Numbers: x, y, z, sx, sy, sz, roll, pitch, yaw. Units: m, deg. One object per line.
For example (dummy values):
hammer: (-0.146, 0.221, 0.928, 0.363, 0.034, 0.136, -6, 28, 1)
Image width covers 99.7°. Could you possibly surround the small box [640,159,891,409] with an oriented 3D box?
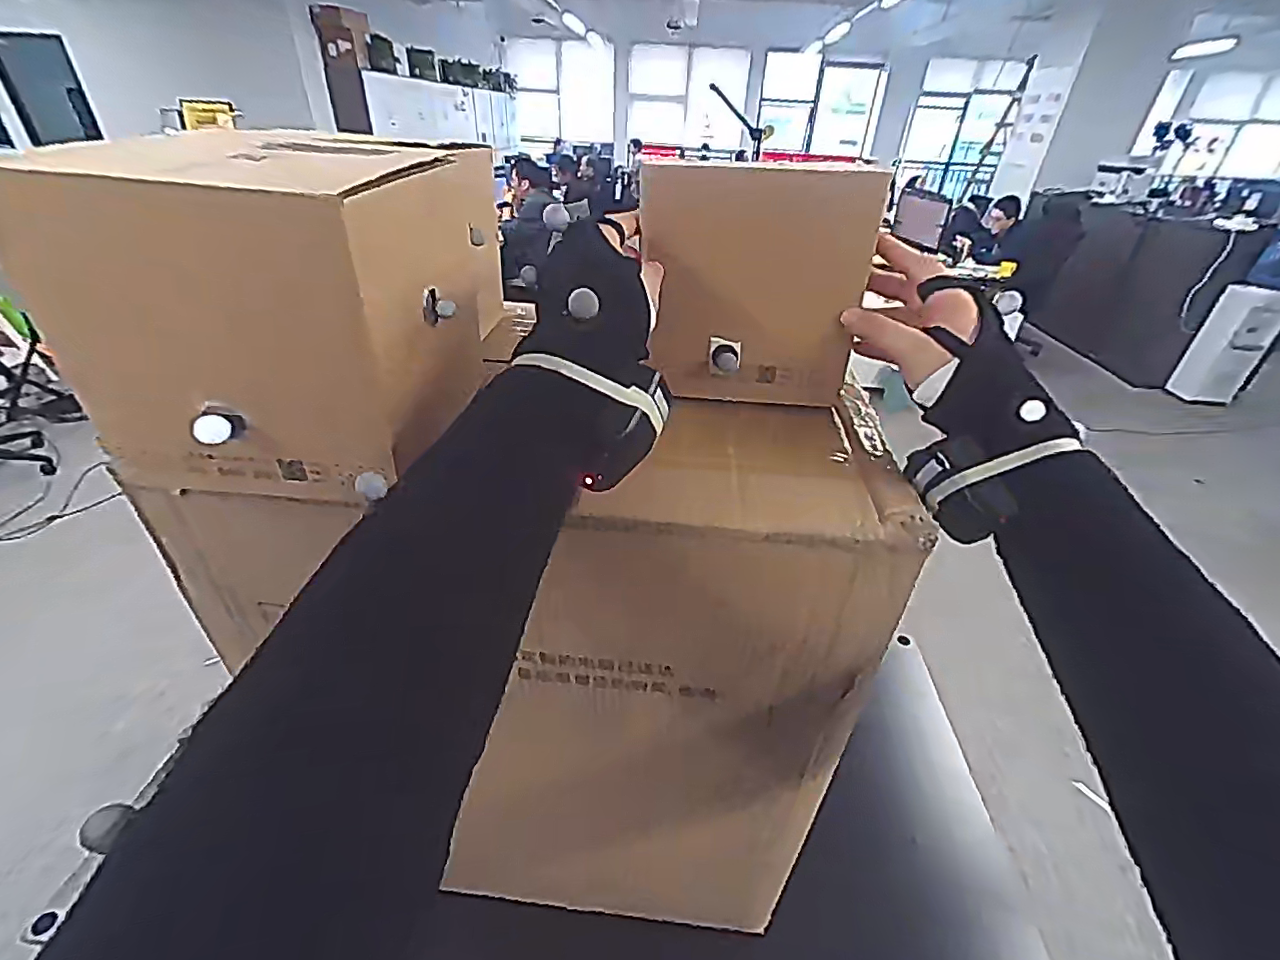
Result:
small box: (0.090, -0.176, 0.469, 0.168, 0.176, 0.179, 3, 32, 4)
